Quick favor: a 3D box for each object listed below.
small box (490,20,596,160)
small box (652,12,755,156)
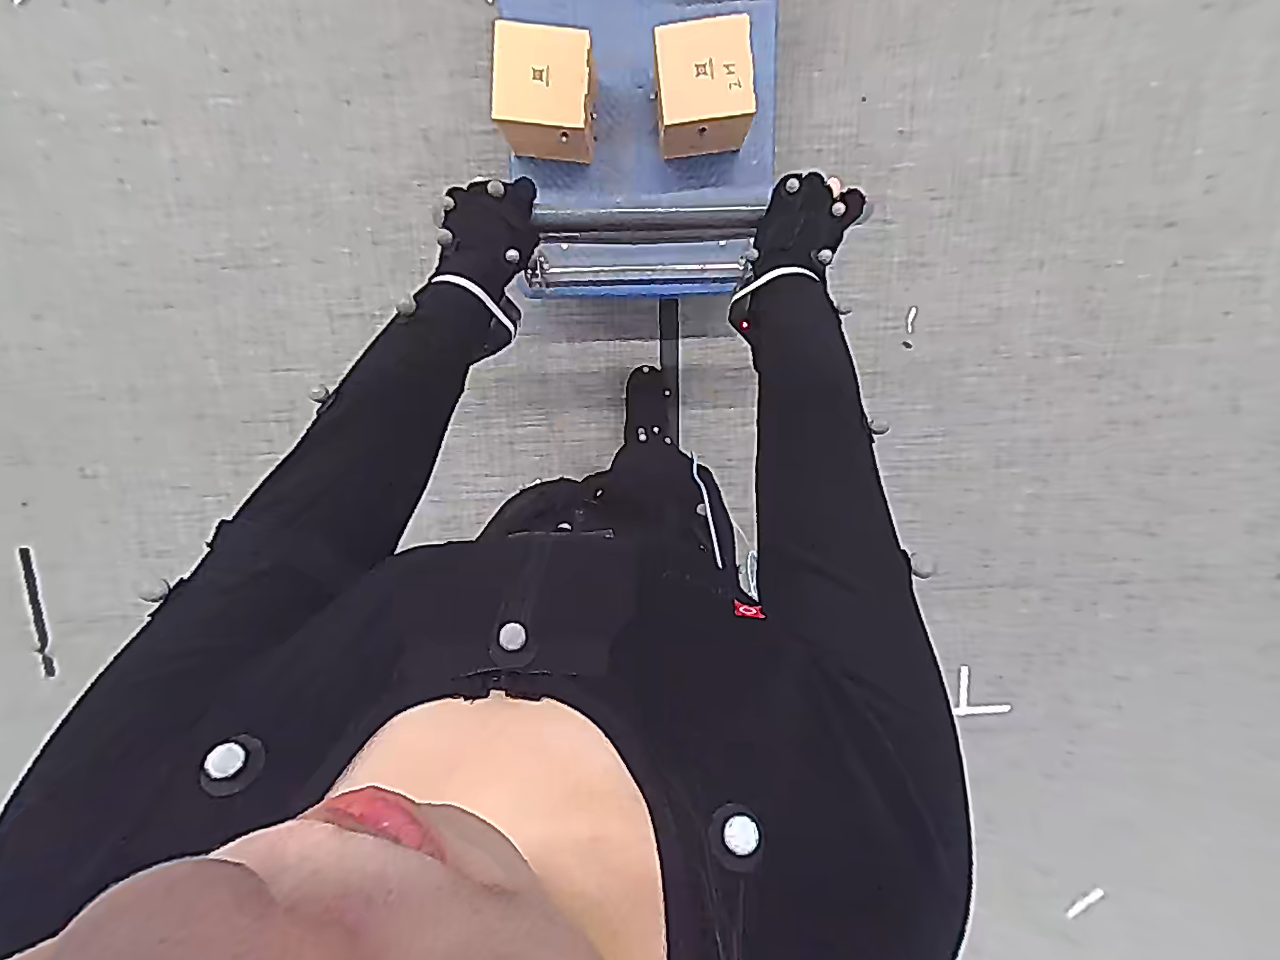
[{"bbox_3d":[-0.185,-0.755,1.065,0.179,0.176,0.168,5,101,-2],"label":"small box"},{"bbox_3d":[0.119,-0.763,1.062,0.179,0.176,0.168,-7,102,2],"label":"small box"}]
